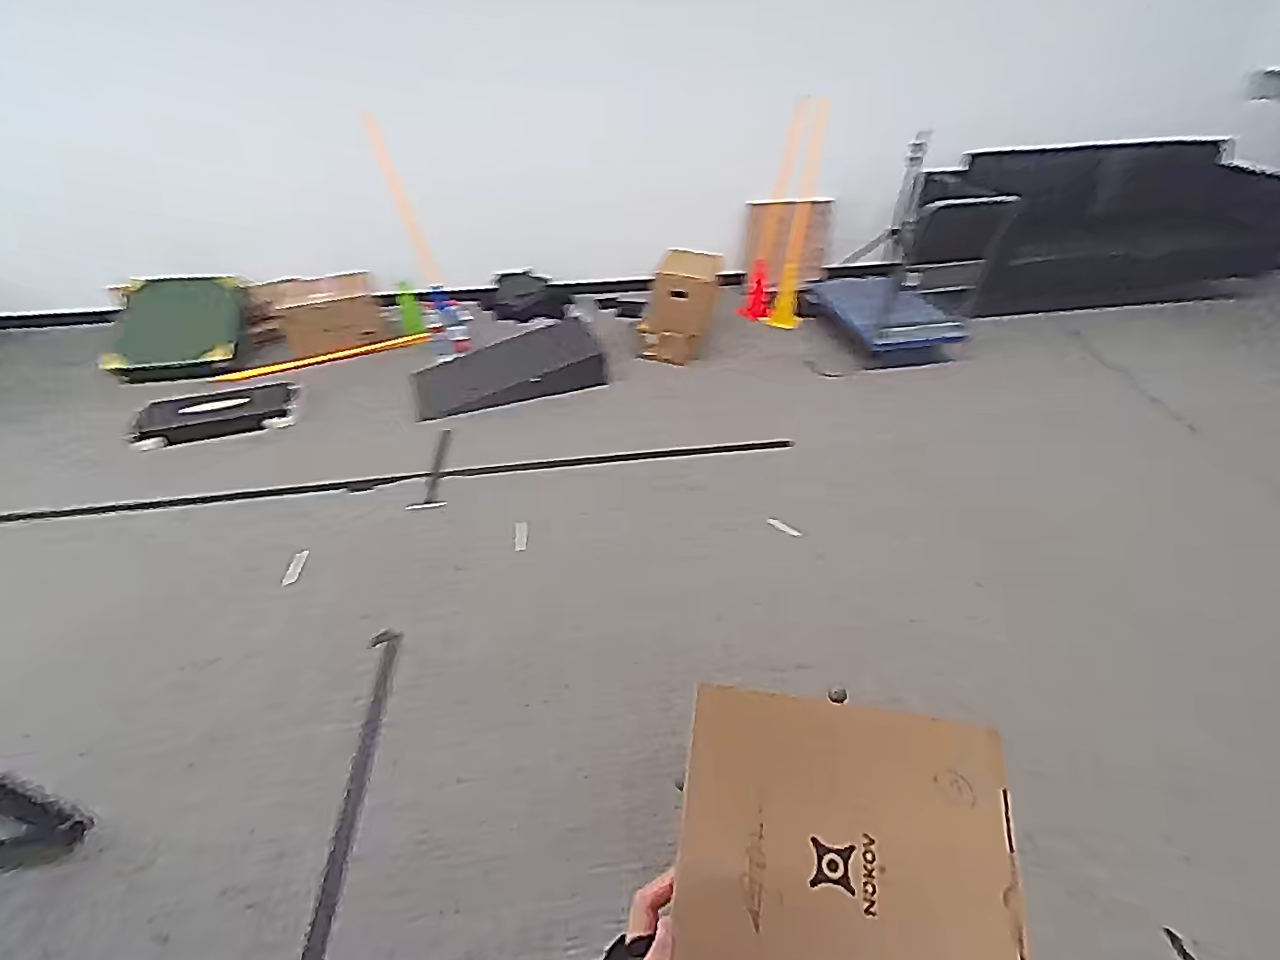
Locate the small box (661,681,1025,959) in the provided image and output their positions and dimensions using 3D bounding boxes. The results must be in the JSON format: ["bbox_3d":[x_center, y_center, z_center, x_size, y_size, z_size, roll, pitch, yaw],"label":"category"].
[{"bbox_3d":[0.115,0.239,0.357,0.179,0.176,0.168,4,64,11],"label":"small box"}]
